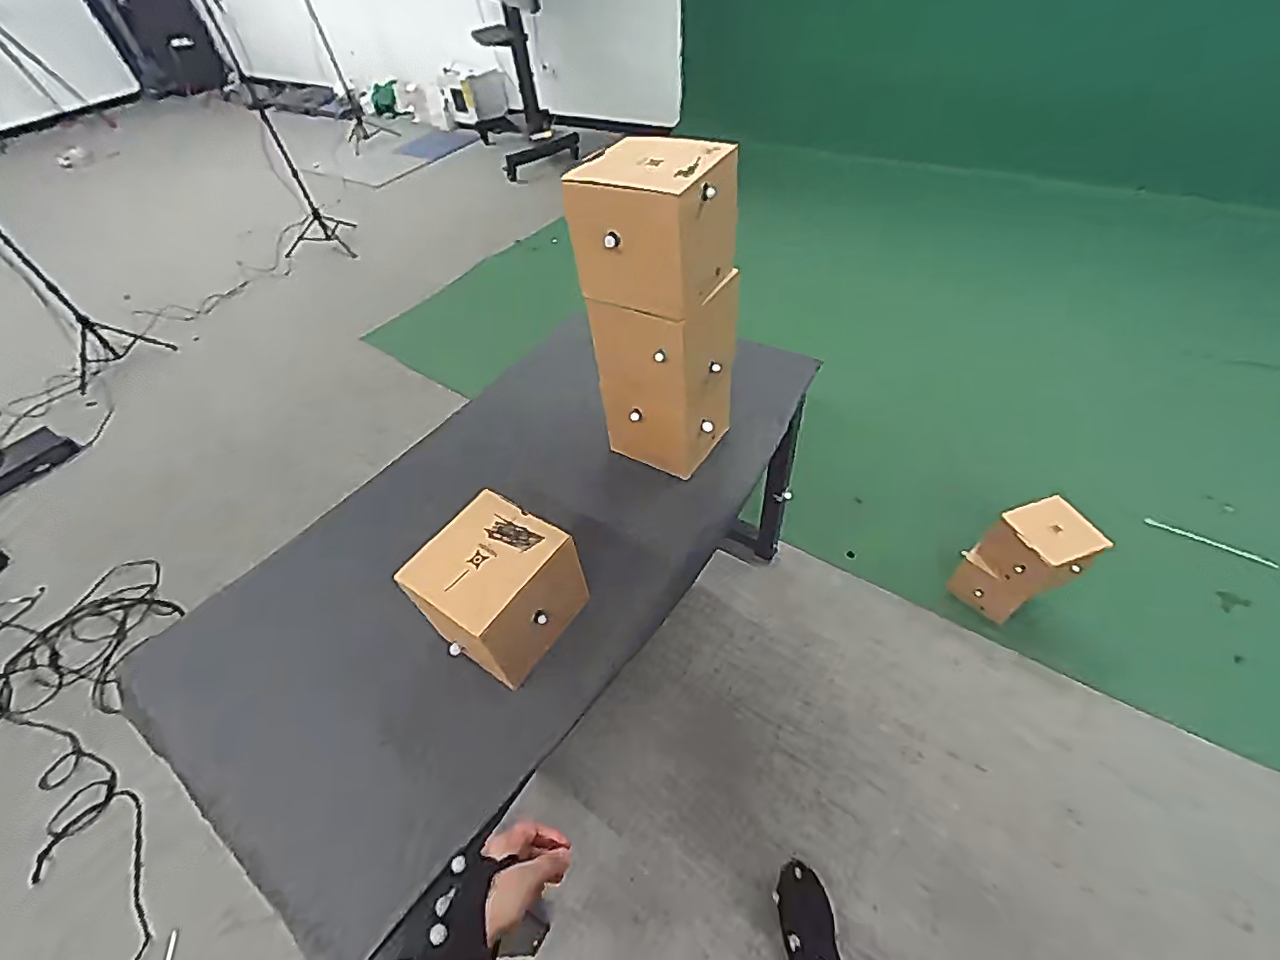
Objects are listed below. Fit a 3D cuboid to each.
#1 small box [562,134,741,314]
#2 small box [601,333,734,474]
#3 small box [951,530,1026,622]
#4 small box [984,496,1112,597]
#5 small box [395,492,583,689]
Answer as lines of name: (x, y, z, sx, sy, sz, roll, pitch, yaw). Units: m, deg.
small box: (0.024, -0.349, 0.740, 0.179, 0.176, 0.168, 21, 55, 25)
small box: (0.056, -0.135, 0.987, 0.179, 0.176, 0.168, 24, 56, 26)
small box: (1.003, 0.262, 1.507, 0.179, 0.176, 0.168, -34, 54, -21)
small box: (1.012, 0.172, 1.368, 0.179, 0.176, 0.168, -16, 51, -9)
small box: (-0.197, 0.155, 0.762, 0.168, 0.176, 0.179, 25, 57, 26)
